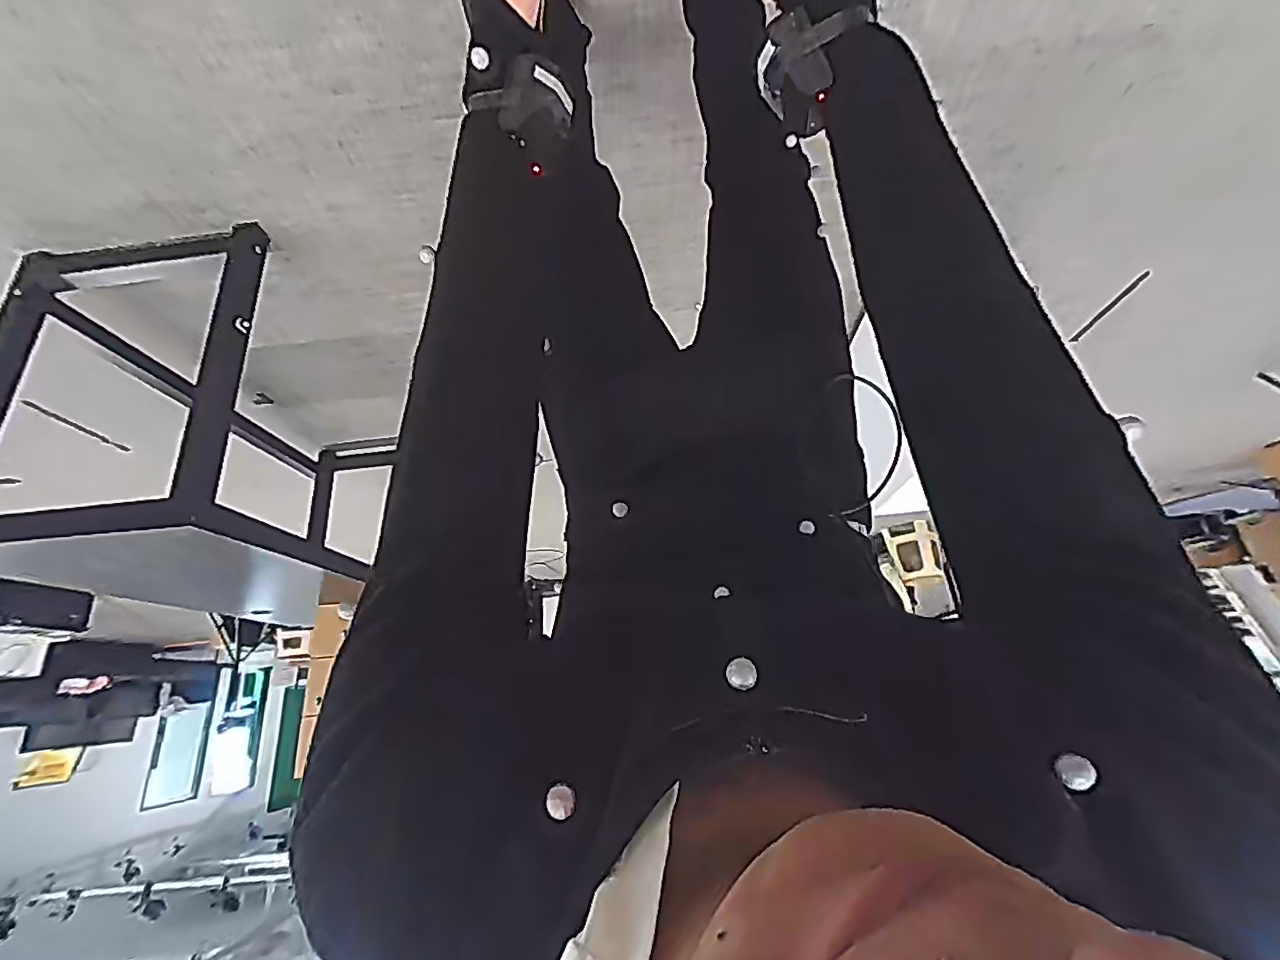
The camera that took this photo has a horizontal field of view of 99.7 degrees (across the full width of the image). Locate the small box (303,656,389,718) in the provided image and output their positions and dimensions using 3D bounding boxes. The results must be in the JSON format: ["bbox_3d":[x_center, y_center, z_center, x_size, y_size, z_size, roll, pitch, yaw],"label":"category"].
[{"bbox_3d":[-0.921,0.653,1.708,0.179,0.176,0.168,-6,159,3],"label":"small box"}]

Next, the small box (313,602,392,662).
[{"bbox_3d":[-0.932,0.500,1.770,0.179,0.176,0.168,-7,158,3],"label":"small box"}]
